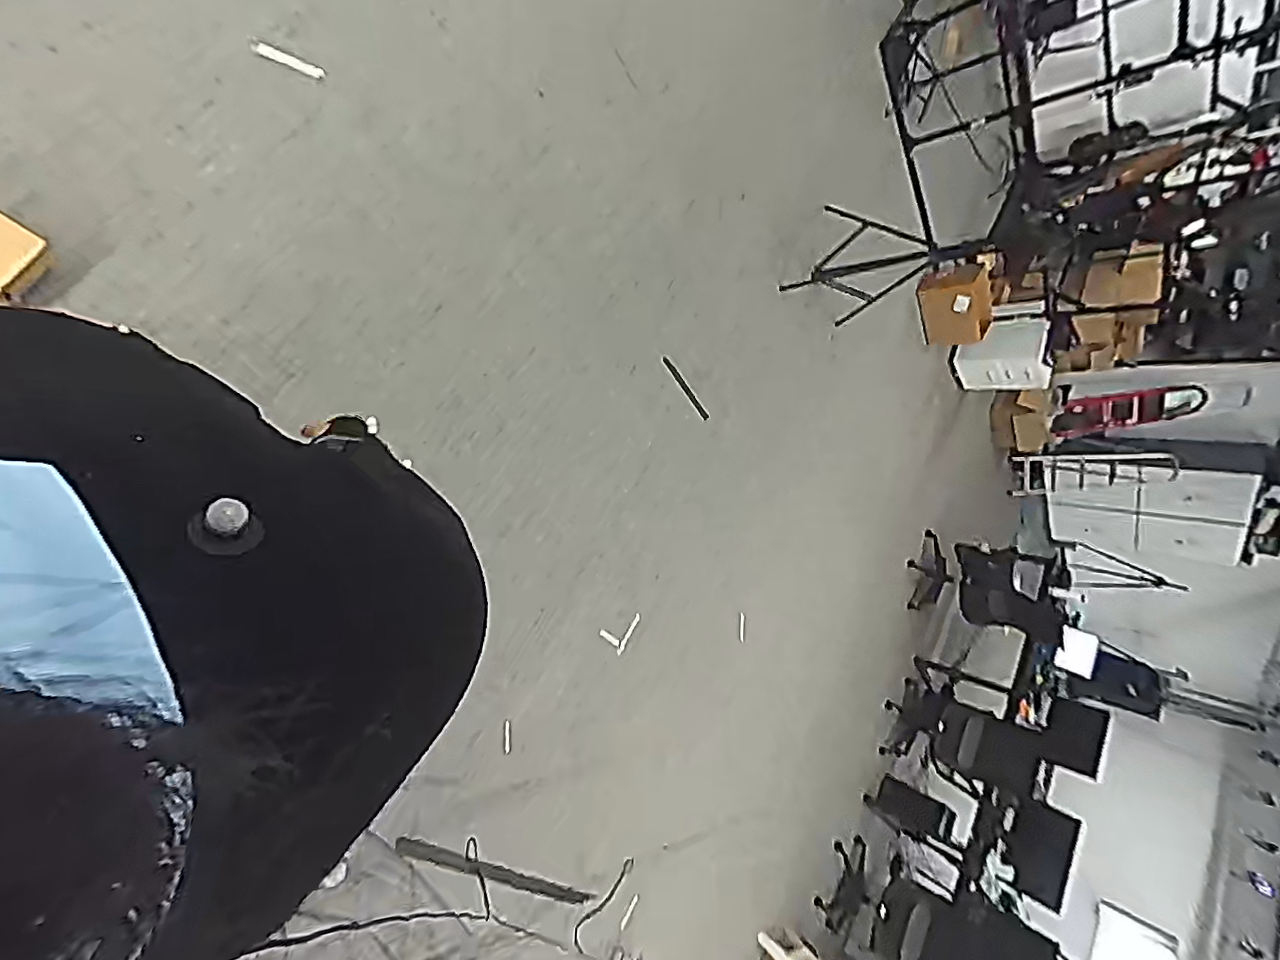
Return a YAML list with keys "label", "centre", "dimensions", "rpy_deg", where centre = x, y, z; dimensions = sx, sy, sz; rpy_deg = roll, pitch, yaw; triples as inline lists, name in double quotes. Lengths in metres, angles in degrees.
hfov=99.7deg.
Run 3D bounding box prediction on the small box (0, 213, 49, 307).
- label: "small box"
  centre: [-1.125, -0.383, 0.876]
  dimensions: [0.179, 0.176, 0.168]
  rpy_deg: [41, 69, -39]
